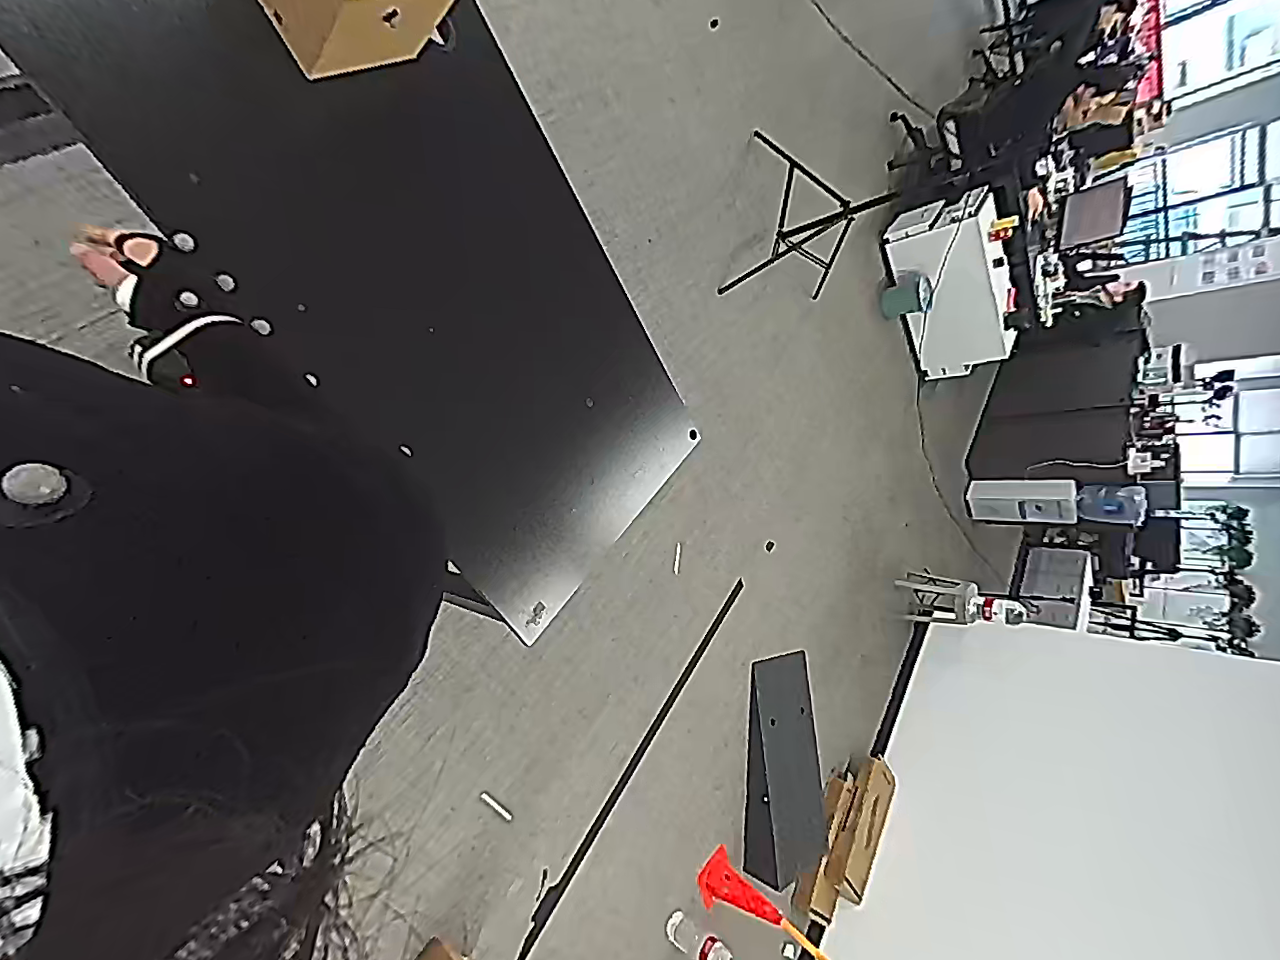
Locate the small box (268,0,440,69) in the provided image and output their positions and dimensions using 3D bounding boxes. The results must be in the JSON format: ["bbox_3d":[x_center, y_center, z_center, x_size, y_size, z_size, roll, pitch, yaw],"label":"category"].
[{"bbox_3d":[-0.361,-0.640,0.655,0.179,0.176,0.168,-47,120,-33],"label":"small box"}]

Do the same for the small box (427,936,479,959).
[{"bbox_3d":[-0.518,1.418,1.480,0.179,0.176,0.168,-50,122,-32],"label":"small box"}]
